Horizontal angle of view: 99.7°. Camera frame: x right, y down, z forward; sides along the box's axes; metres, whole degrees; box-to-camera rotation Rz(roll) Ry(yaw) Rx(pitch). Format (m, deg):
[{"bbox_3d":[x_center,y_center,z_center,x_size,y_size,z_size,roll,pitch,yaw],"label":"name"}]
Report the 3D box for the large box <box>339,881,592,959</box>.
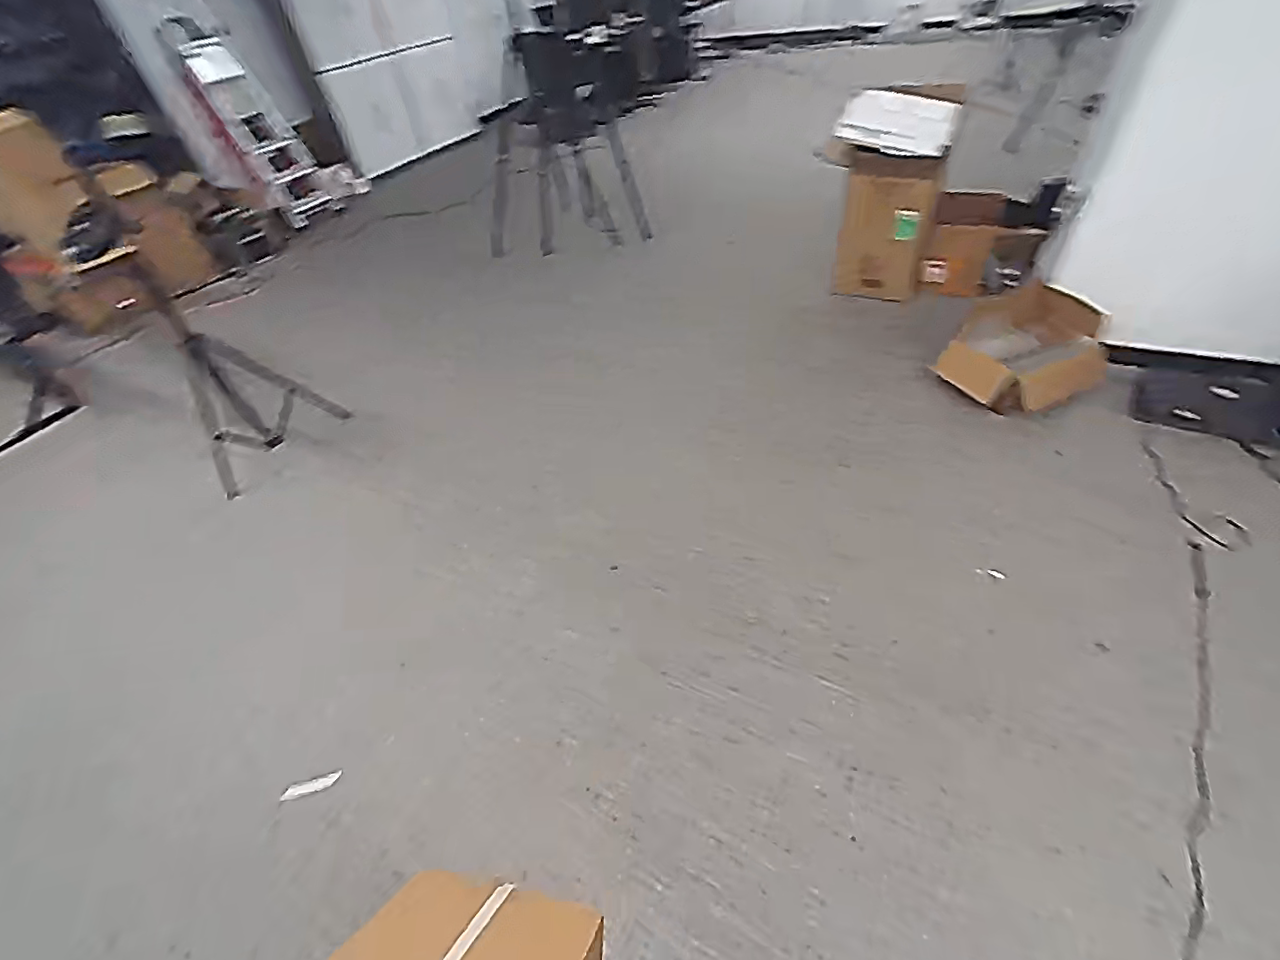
[{"bbox_3d":[-0.268,0.786,0.634,0.320,0.408,0.320,1,87,14],"label":"large box"}]
